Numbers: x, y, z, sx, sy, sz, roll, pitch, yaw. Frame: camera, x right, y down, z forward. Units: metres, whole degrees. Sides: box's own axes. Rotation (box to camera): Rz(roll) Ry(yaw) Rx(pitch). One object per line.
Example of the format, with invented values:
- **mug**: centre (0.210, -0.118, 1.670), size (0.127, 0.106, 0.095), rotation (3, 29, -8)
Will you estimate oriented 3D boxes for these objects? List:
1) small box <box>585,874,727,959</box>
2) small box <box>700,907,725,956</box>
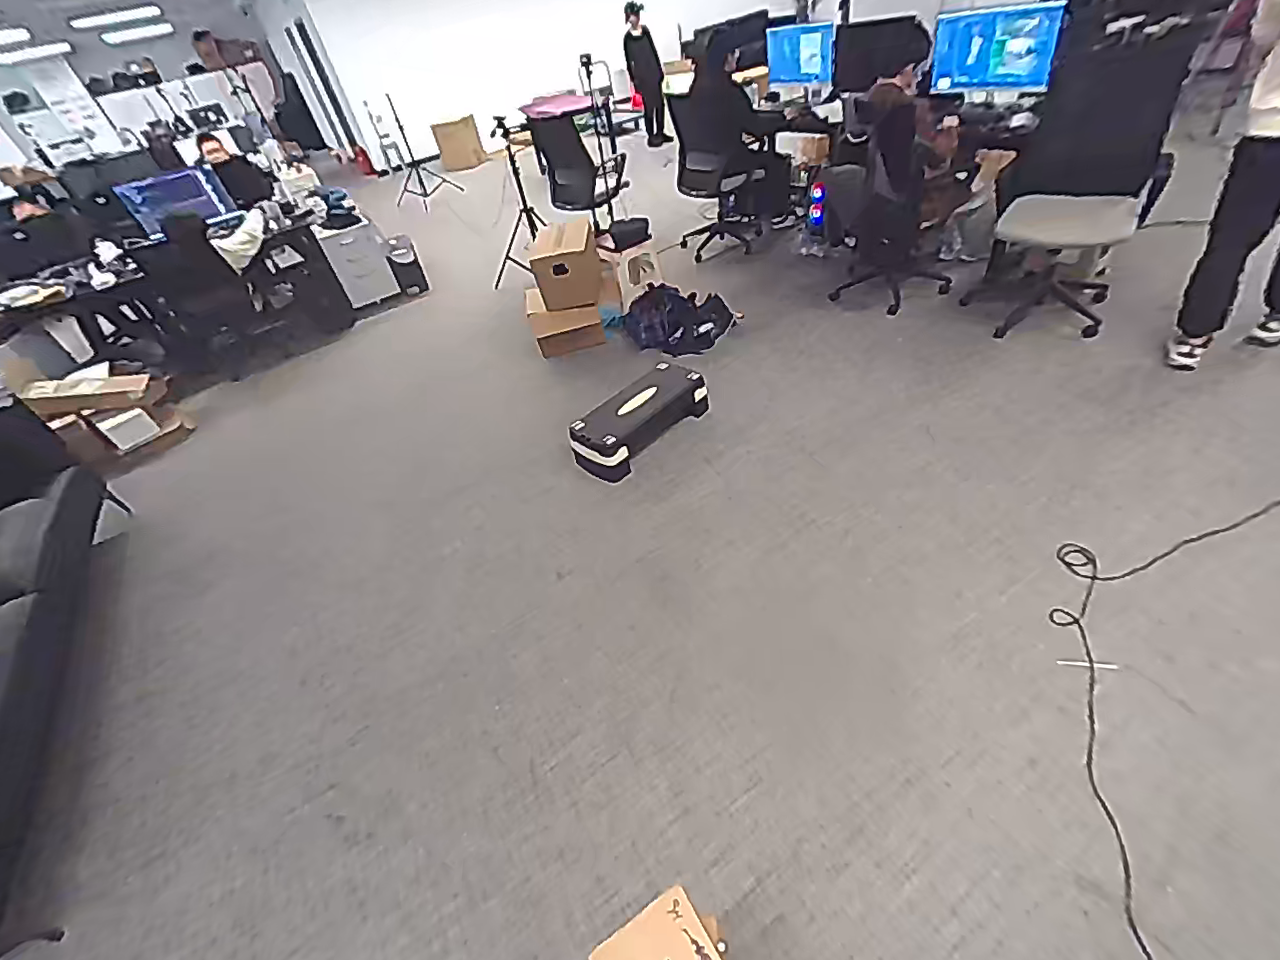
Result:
- **small box**: centre (0.042, 0.782, 0.860), size (0.179, 0.176, 0.168), rotation (-29, 45, -14)
- **small box**: centre (0.070, 0.898, 0.972), size (0.168, 0.176, 0.179), rotation (-10, 44, 5)
